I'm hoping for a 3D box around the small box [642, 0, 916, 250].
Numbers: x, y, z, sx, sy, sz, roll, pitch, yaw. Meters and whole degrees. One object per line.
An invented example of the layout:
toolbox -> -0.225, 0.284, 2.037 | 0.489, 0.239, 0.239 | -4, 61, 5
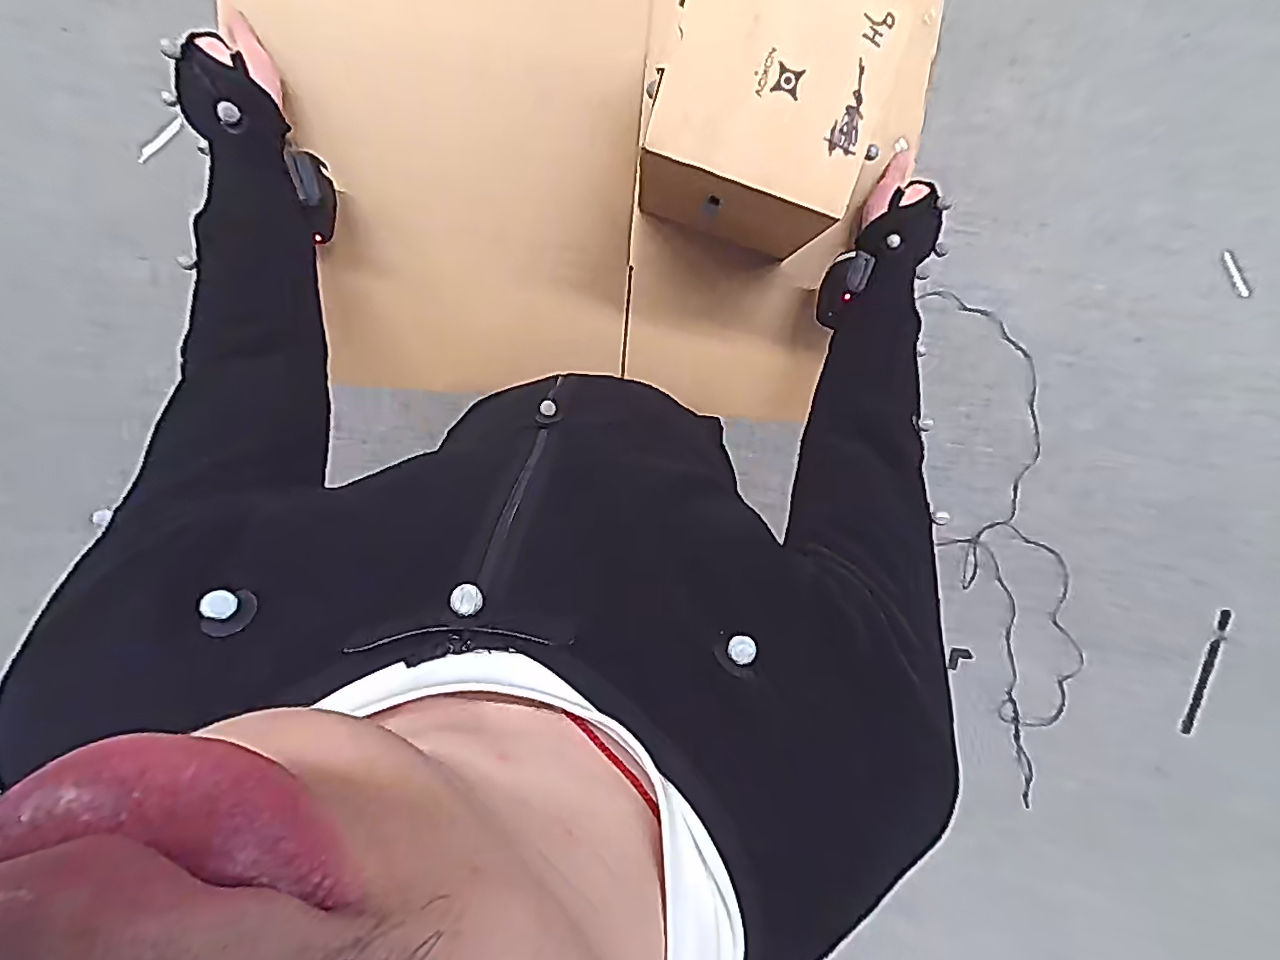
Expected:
small box -> 0.108, -0.336, 0.506 | 0.179, 0.176, 0.168 | 18, 101, -4
